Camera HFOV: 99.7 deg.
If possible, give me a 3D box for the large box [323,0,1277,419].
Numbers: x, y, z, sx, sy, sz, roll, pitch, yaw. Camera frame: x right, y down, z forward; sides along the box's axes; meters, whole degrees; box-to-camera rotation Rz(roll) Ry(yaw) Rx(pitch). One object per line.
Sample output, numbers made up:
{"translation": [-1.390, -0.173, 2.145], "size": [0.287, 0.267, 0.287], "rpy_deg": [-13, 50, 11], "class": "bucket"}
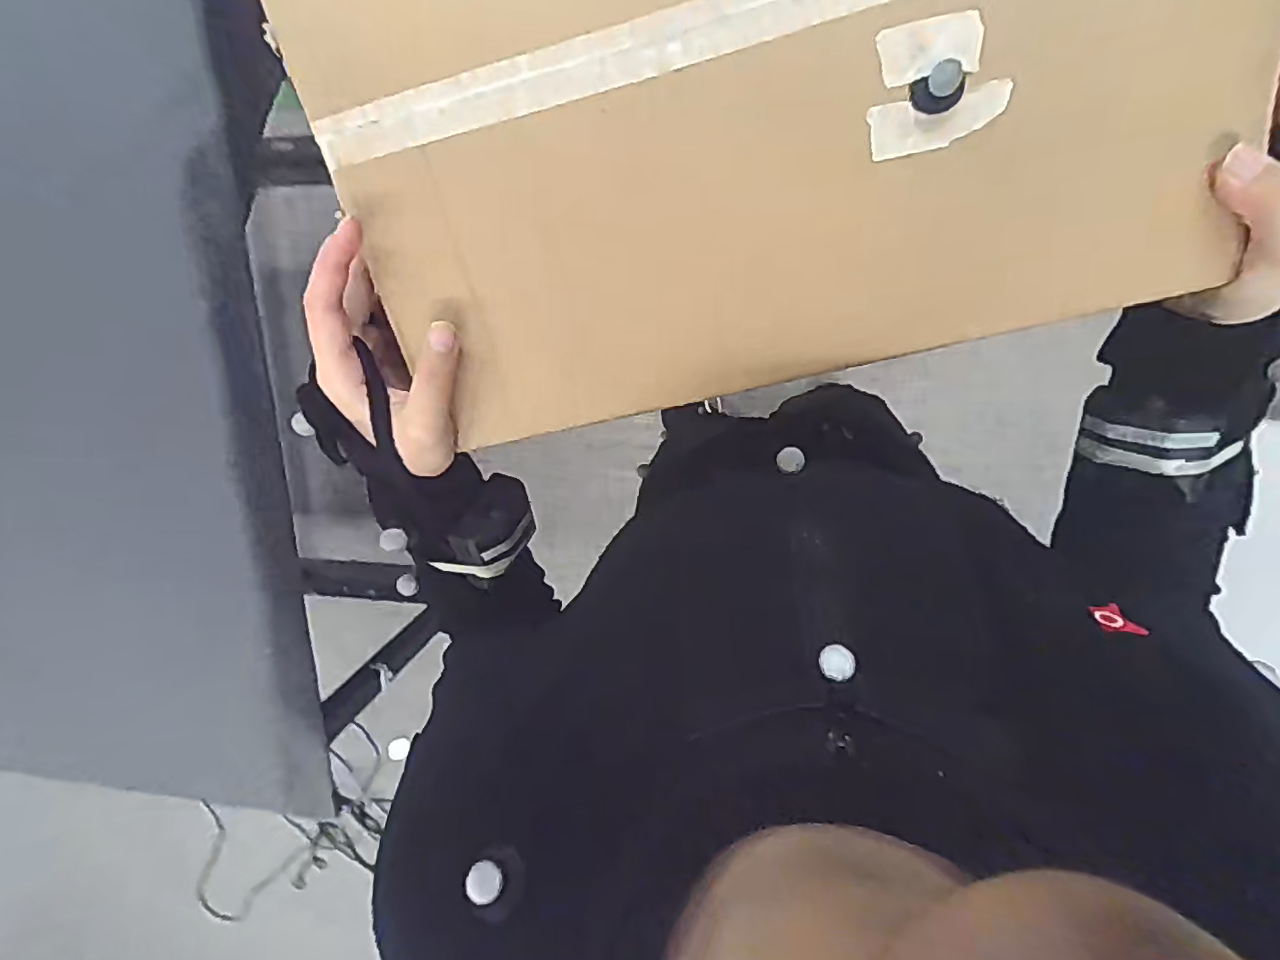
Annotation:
{"translation": [0.065, -0.266, 0.371], "size": [0.408, 0.320, 0.320], "rpy_deg": [-12, 112, 6], "class": "large box"}
